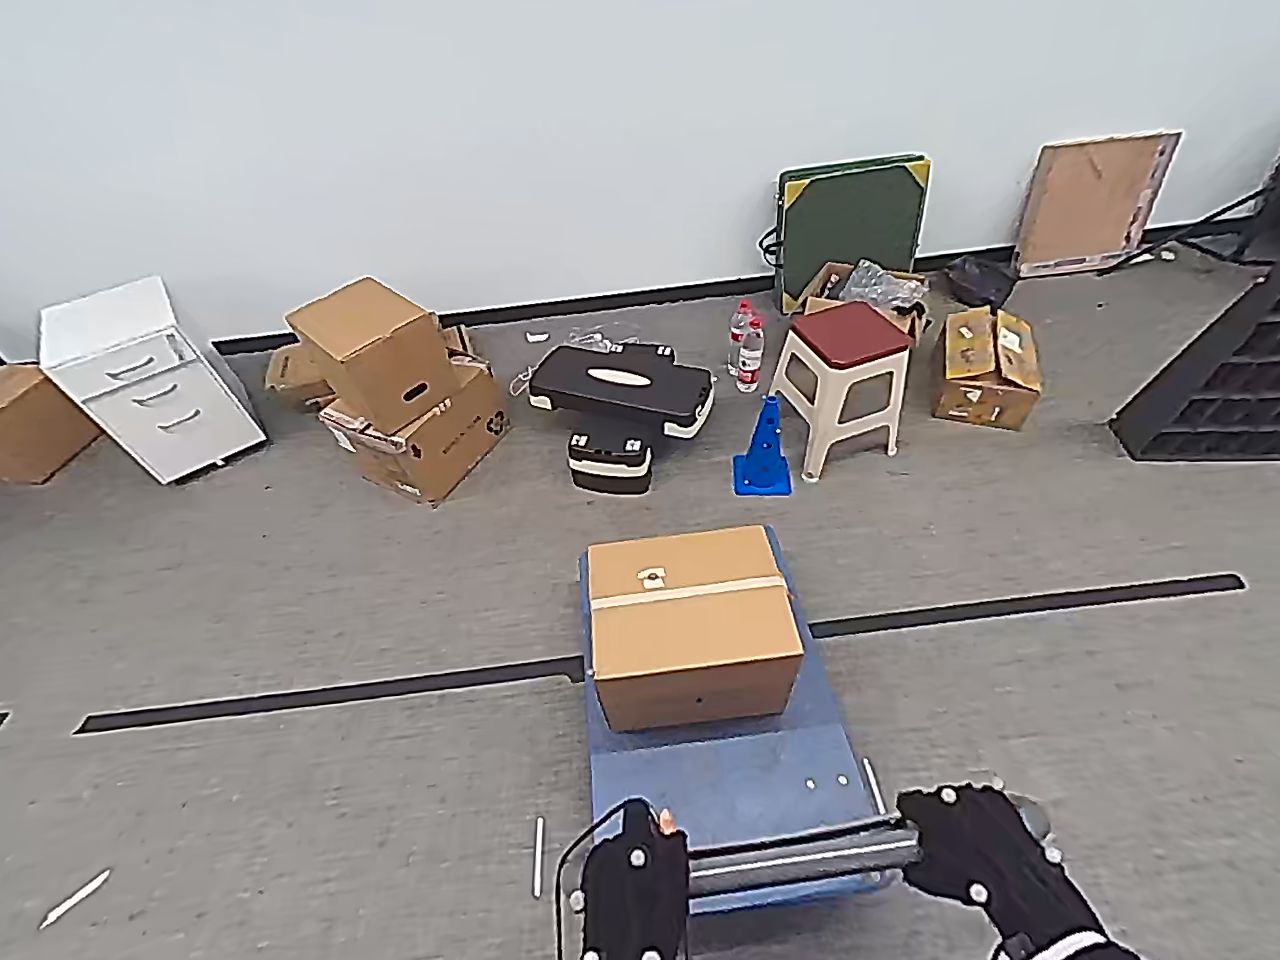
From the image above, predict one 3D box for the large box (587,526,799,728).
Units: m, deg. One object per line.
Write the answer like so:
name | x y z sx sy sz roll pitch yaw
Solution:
large box | 0.106 0.341 1.238 0.408 0.320 0.320 -8 48 0
